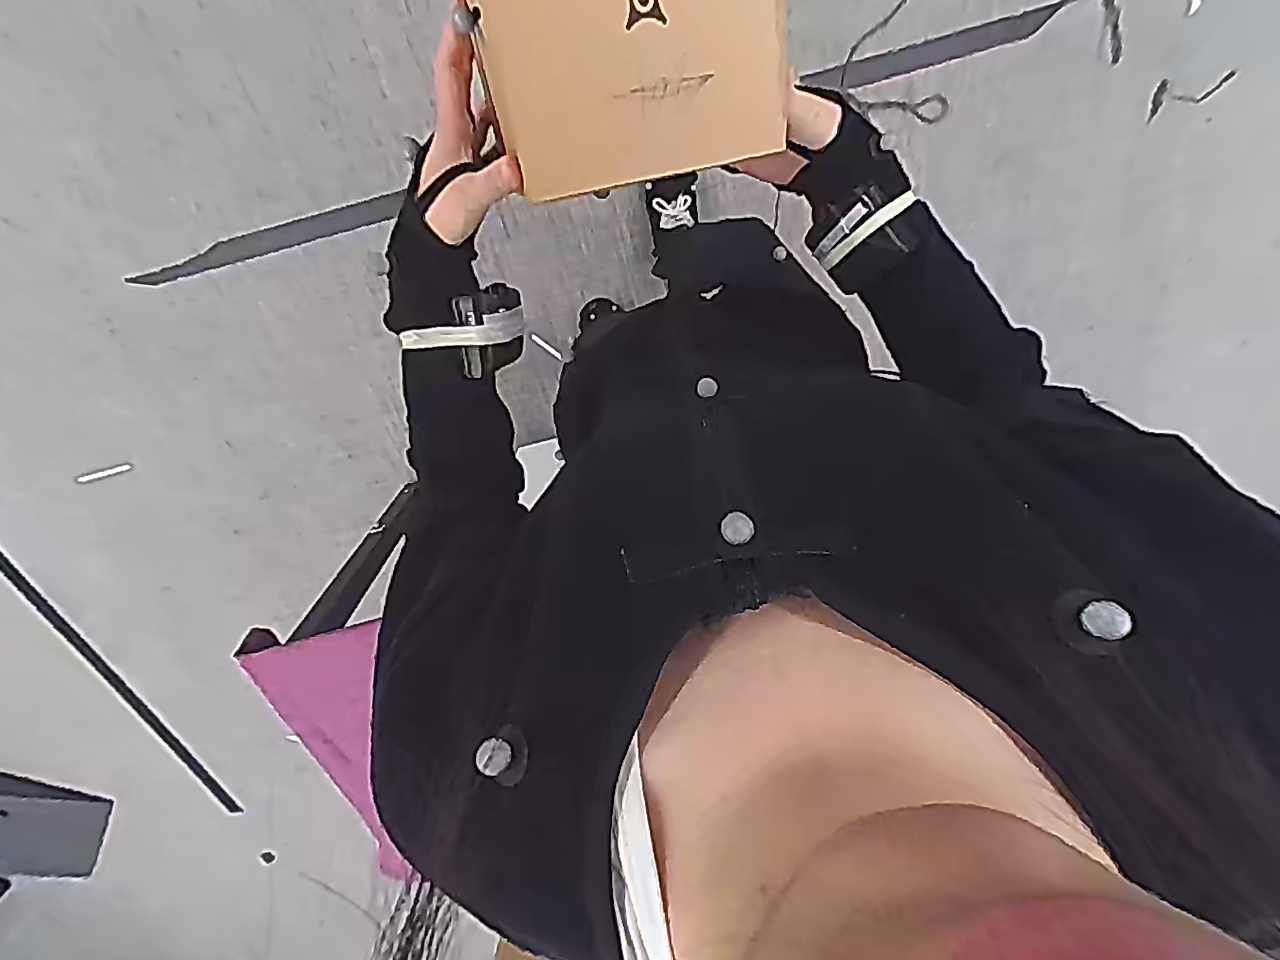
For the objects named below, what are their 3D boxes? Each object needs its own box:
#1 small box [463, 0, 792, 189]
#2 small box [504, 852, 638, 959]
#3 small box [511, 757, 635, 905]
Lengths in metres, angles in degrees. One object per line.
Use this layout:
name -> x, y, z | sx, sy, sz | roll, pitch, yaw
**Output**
small box -> -0.020, -0.298, 0.340 | 0.168, 0.176, 0.179 | -16, 125, -9
small box -> -0.098, 0.694, 0.806 | 0.179, 0.176, 0.168 | -11, 113, 0
small box -> -0.110, 0.626, 0.955 | 0.179, 0.176, 0.168 | -12, 114, 1
